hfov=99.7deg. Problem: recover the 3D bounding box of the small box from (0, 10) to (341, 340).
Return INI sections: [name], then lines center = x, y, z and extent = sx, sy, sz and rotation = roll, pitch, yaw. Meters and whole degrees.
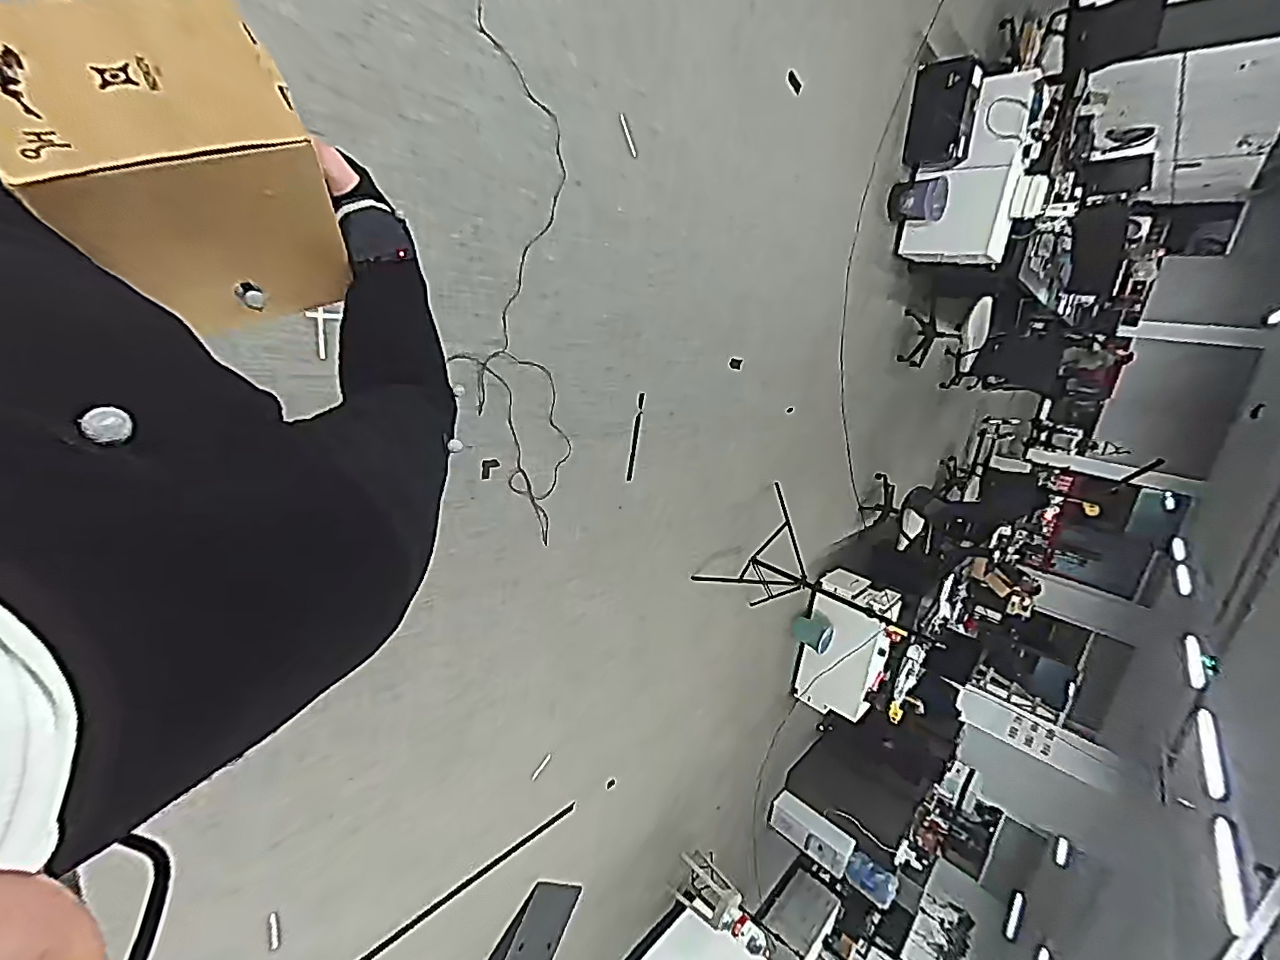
[small box]
center = -0.382, -0.252, 0.464
extent = 0.179, 0.168, 0.176
rotation = -27, 166, -24
